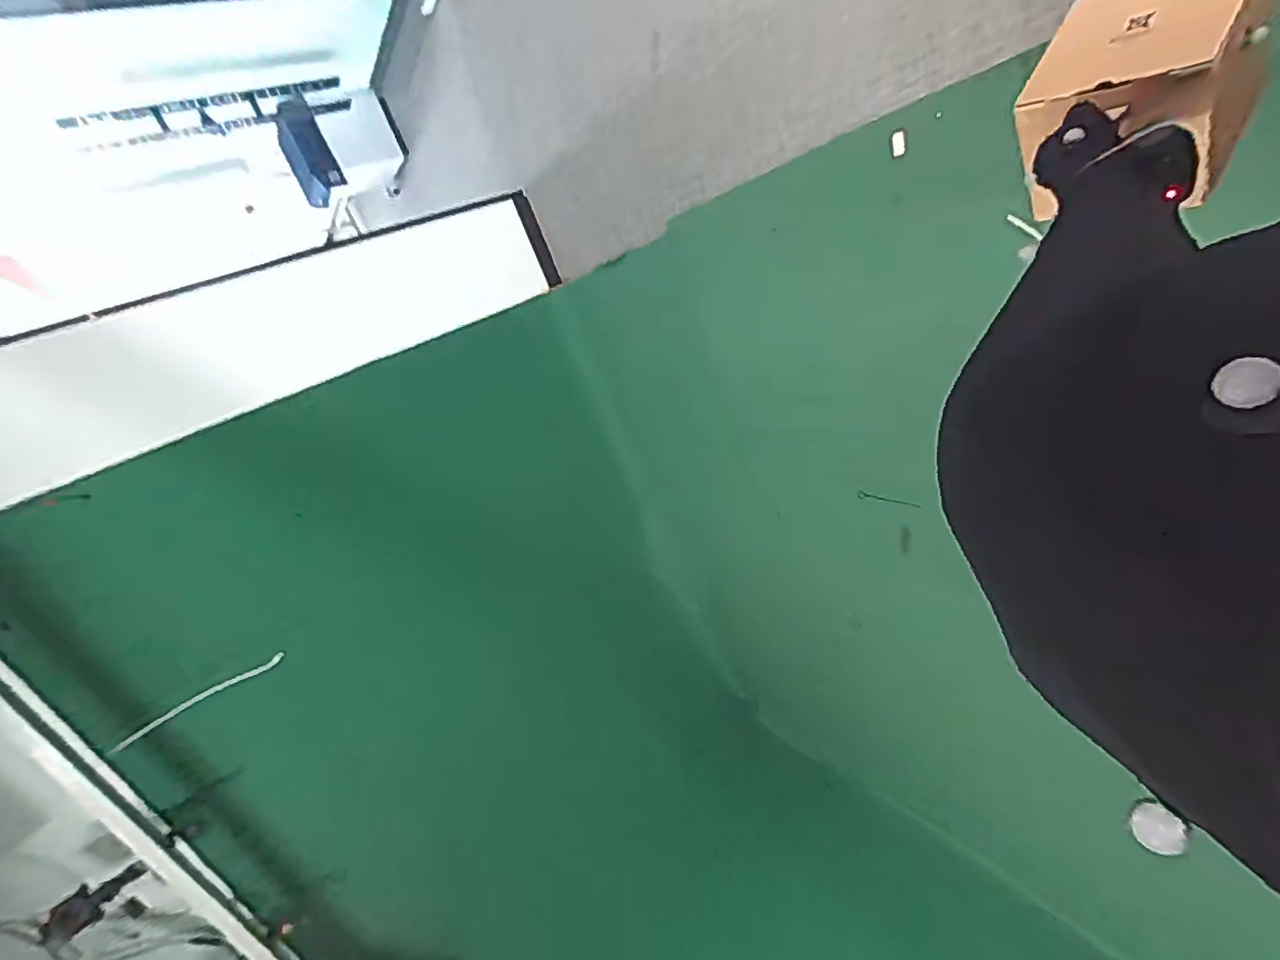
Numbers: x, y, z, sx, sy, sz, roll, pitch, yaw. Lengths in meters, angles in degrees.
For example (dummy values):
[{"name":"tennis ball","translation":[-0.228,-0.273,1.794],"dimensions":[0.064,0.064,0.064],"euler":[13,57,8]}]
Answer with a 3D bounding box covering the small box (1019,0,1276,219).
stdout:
[{"name":"small box","translation":[0.577,-0.437,0.622],"dimensions":[0.176,0.179,0.168],"euler":[37,172,-38]}]
